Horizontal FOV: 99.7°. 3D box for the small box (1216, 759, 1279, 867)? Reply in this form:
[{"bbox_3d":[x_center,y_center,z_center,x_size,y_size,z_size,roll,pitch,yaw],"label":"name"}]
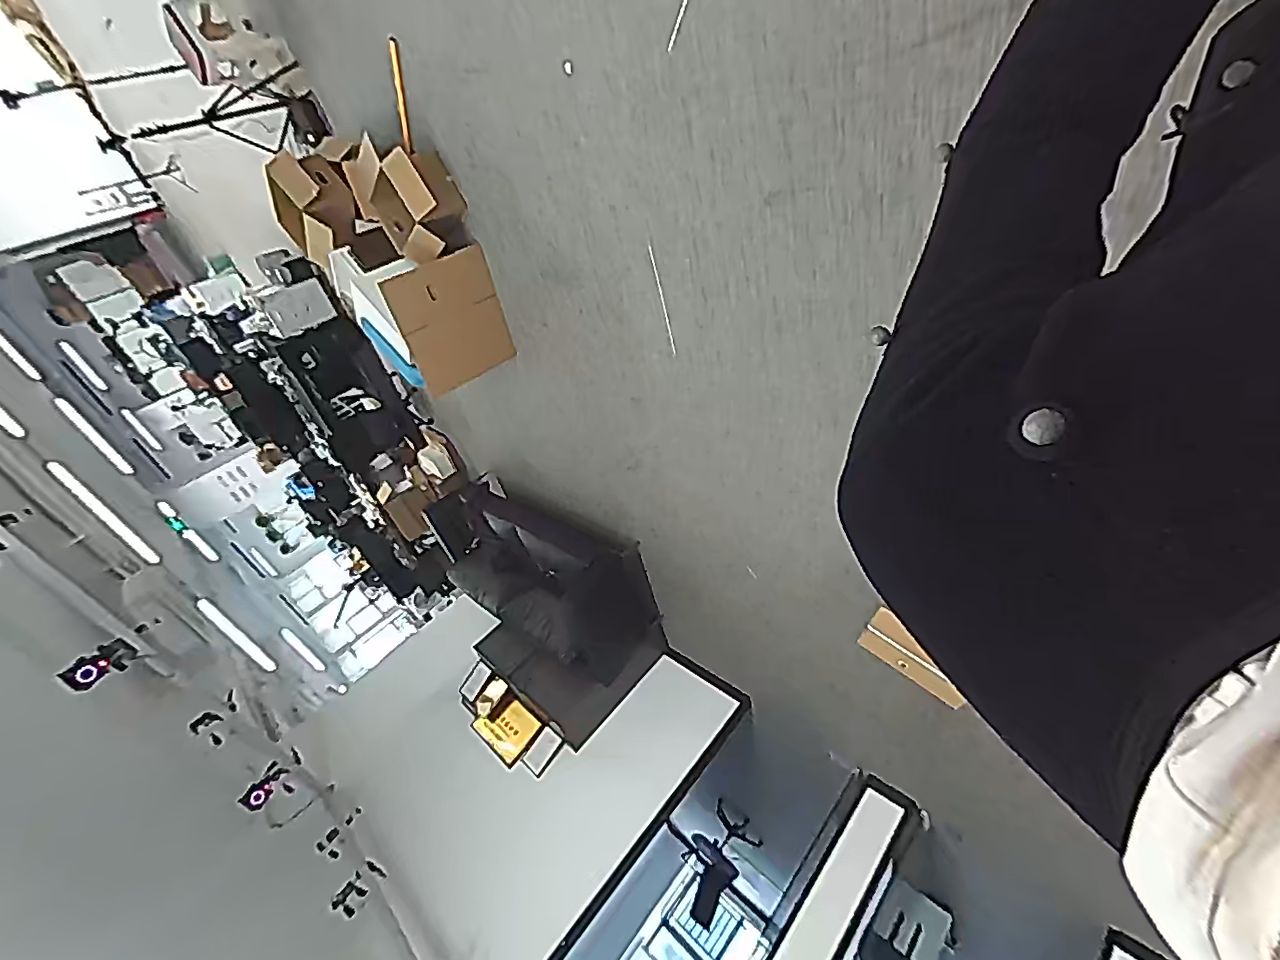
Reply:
[{"bbox_3d":[1.549,0.806,1.296,0.168,0.176,0.179,54,150,-6],"label":"small box"}]

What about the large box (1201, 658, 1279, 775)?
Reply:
[{"bbox_3d":[1.766,0.677,1.358,0.320,0.320,0.408,53,150,-7],"label":"large box"}]
